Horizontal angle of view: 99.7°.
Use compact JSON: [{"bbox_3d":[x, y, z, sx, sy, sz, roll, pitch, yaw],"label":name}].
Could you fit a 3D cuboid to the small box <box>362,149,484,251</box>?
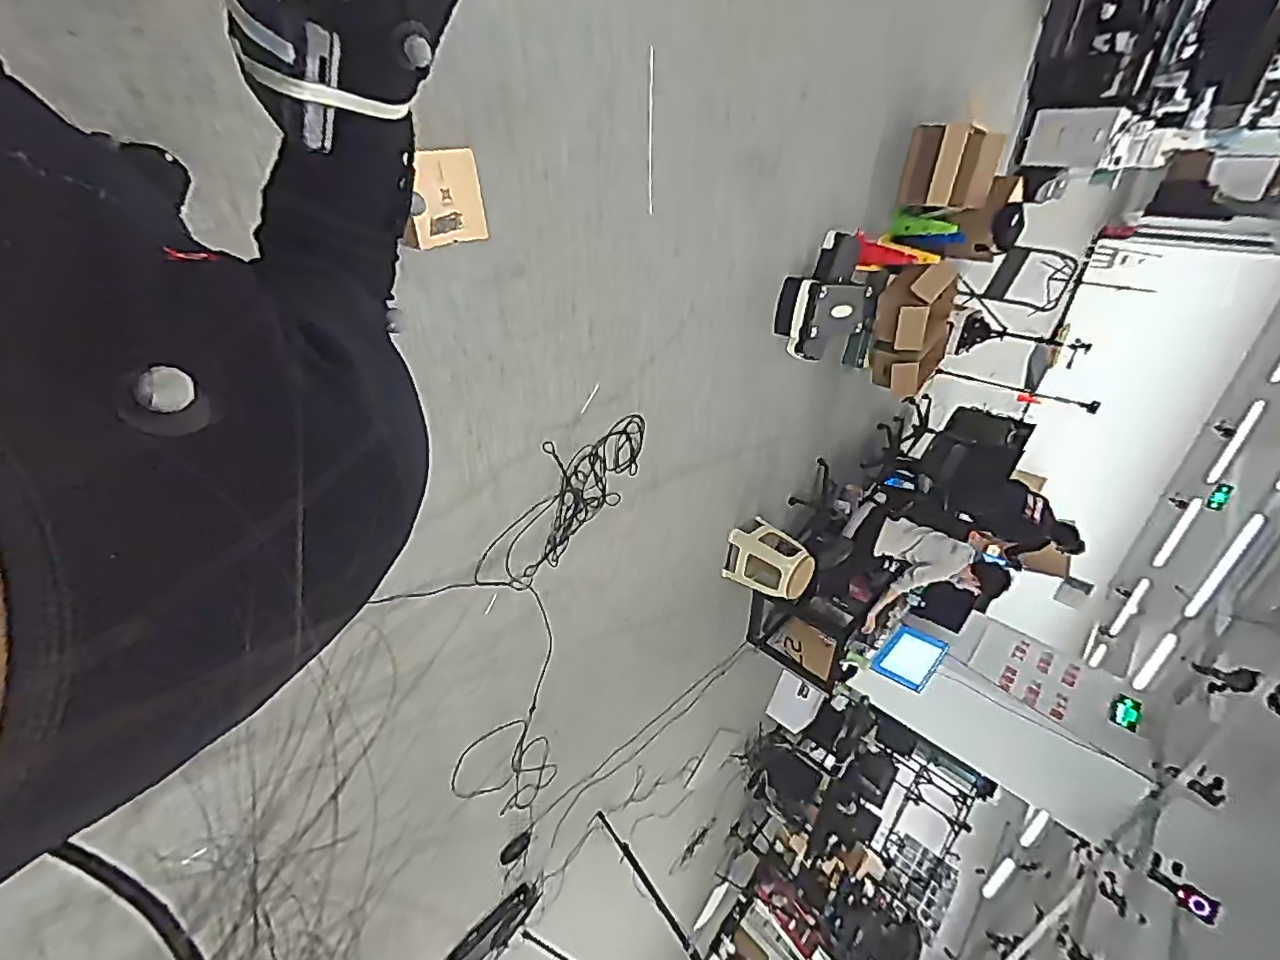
[{"bbox_3d":[-0.463,-0.604,1.157,0.168,0.176,0.179,-30,132,-36],"label":"small box"}]
